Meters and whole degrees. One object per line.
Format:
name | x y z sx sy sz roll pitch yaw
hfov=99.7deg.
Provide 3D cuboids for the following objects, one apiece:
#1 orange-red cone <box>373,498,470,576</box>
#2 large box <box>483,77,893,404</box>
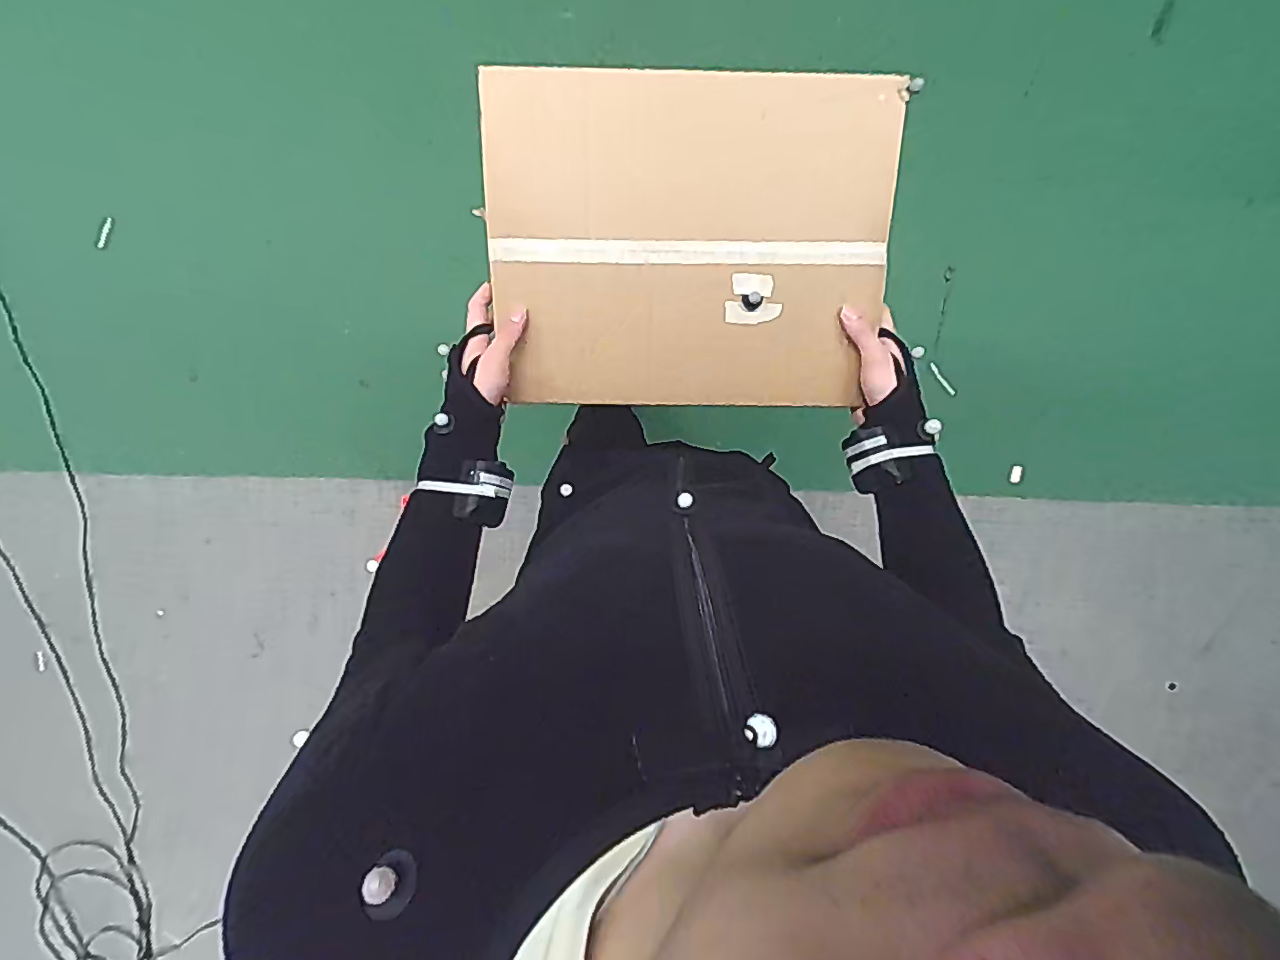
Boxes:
orange-red cone | -0.624 0.188 1.472 0.199 0.360 0.198 9 99 0
large box | 0.044 -0.277 0.701 0.408 0.320 0.320 0 107 -2
